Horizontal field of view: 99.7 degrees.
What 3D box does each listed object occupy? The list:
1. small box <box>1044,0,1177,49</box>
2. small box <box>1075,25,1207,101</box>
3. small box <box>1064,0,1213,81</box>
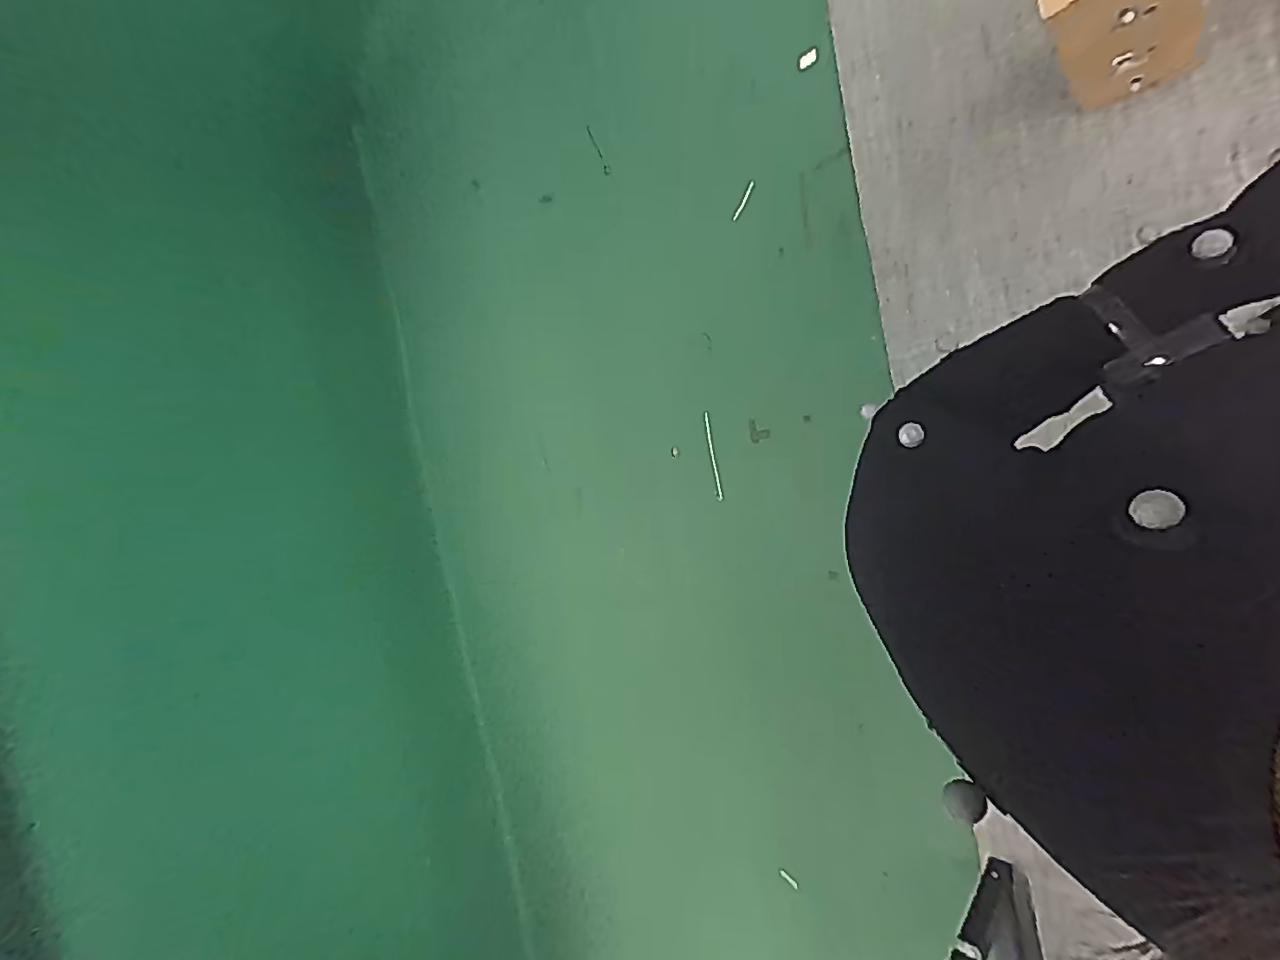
[{"bbox_3d":[0.666,-0.755,0.744,0.168,0.176,0.179,-7,95,49],"label":"small box"},{"bbox_3d":[0.896,-0.818,0.969,0.168,0.176,0.179,-2,99,47],"label":"small box"},{"bbox_3d":[0.782,-0.788,0.857,0.168,0.176,0.179,-7,96,48],"label":"small box"}]
